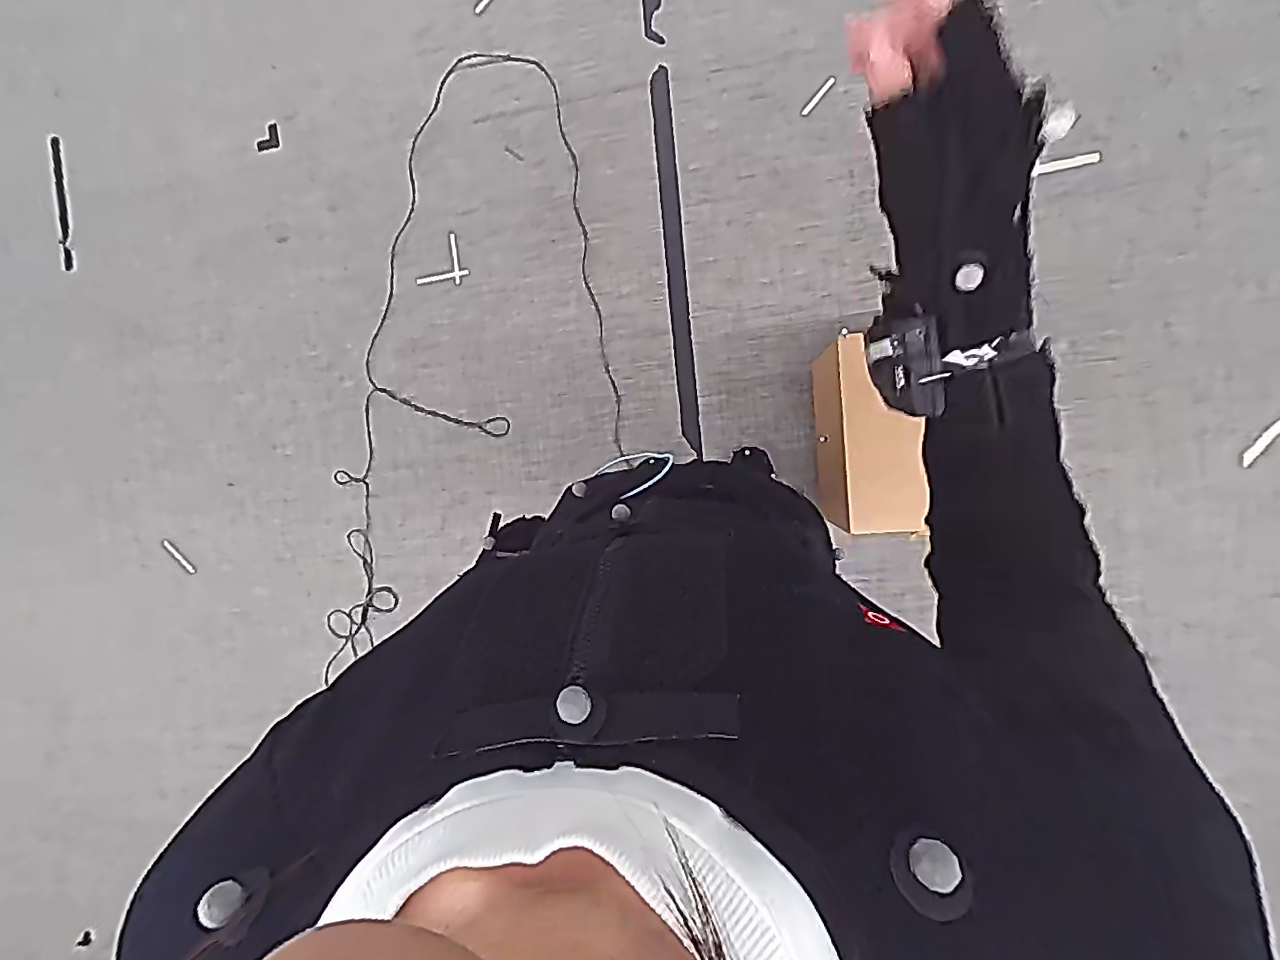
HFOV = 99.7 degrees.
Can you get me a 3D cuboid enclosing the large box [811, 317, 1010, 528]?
[{"bbox_3d":[0.585,-0.116,1.233,0.320,0.320,0.408,-4,91,7],"label":"large box"}]
